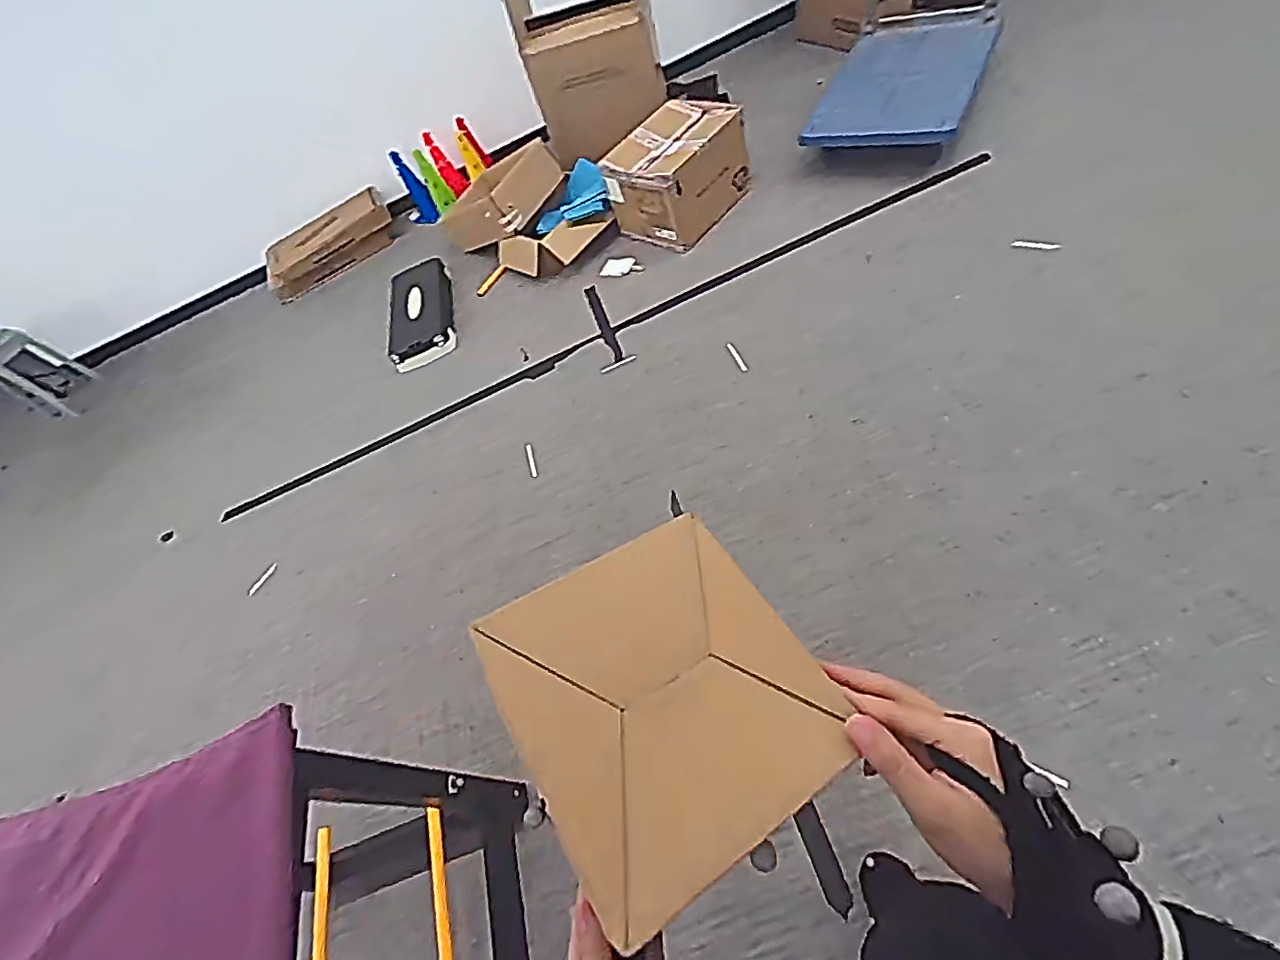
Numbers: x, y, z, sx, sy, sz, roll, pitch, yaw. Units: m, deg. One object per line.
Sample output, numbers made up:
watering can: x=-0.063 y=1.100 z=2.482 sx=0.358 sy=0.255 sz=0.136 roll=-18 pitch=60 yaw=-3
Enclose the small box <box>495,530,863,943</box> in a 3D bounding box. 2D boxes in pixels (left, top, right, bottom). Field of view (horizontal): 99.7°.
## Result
small box: x=0.012 y=0.164 z=0.369 sx=0.168 sy=0.176 sz=0.179 roll=-24 pitch=59 yaw=-23
